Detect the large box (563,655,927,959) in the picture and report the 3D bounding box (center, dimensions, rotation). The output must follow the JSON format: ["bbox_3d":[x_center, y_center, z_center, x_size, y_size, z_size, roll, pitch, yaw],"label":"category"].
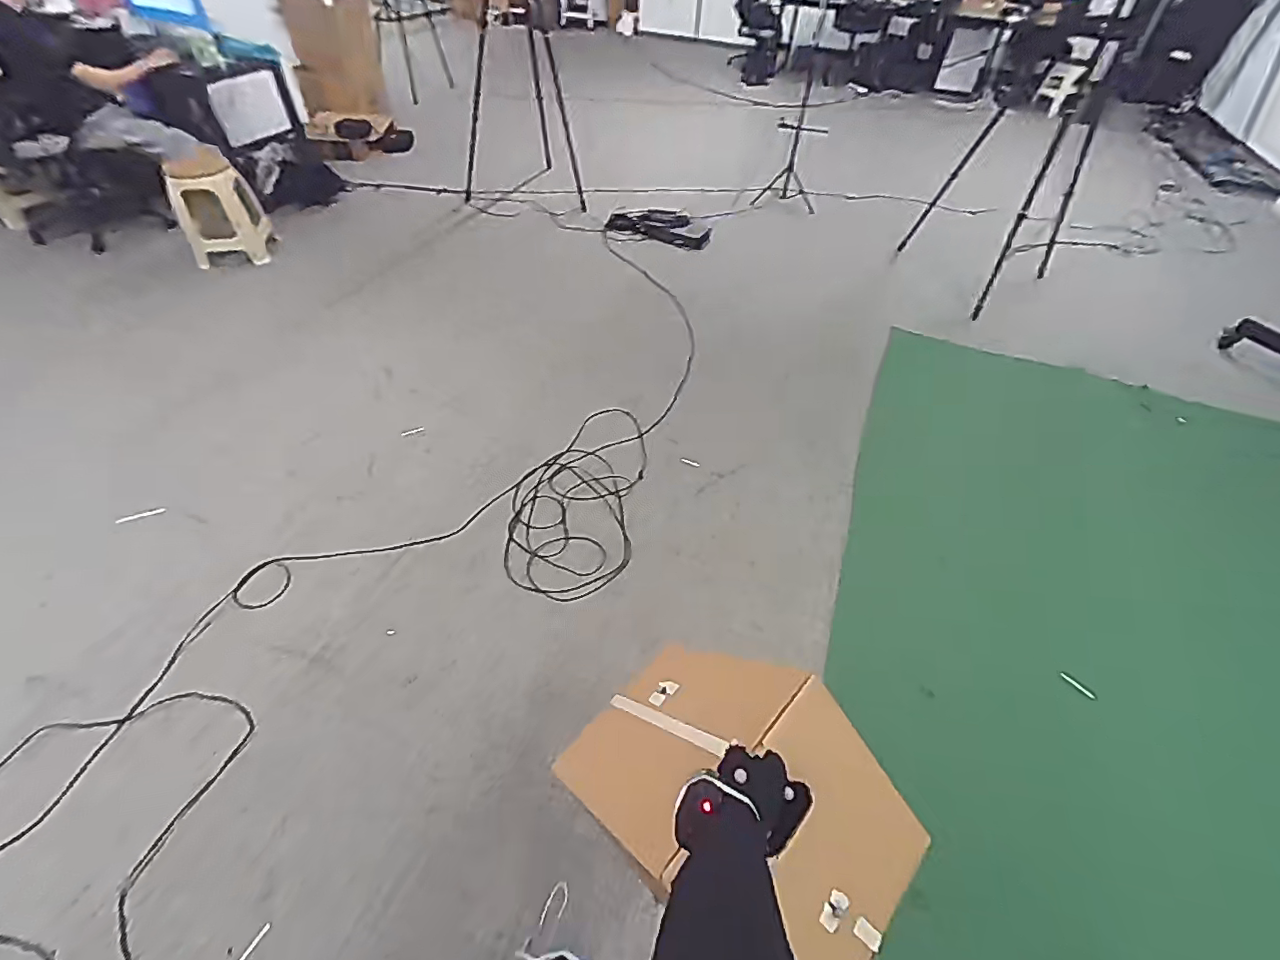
[{"bbox_3d":[0.142,0.514,0.854,0.320,0.408,0.320,-38,96,-27],"label":"large box"}]
